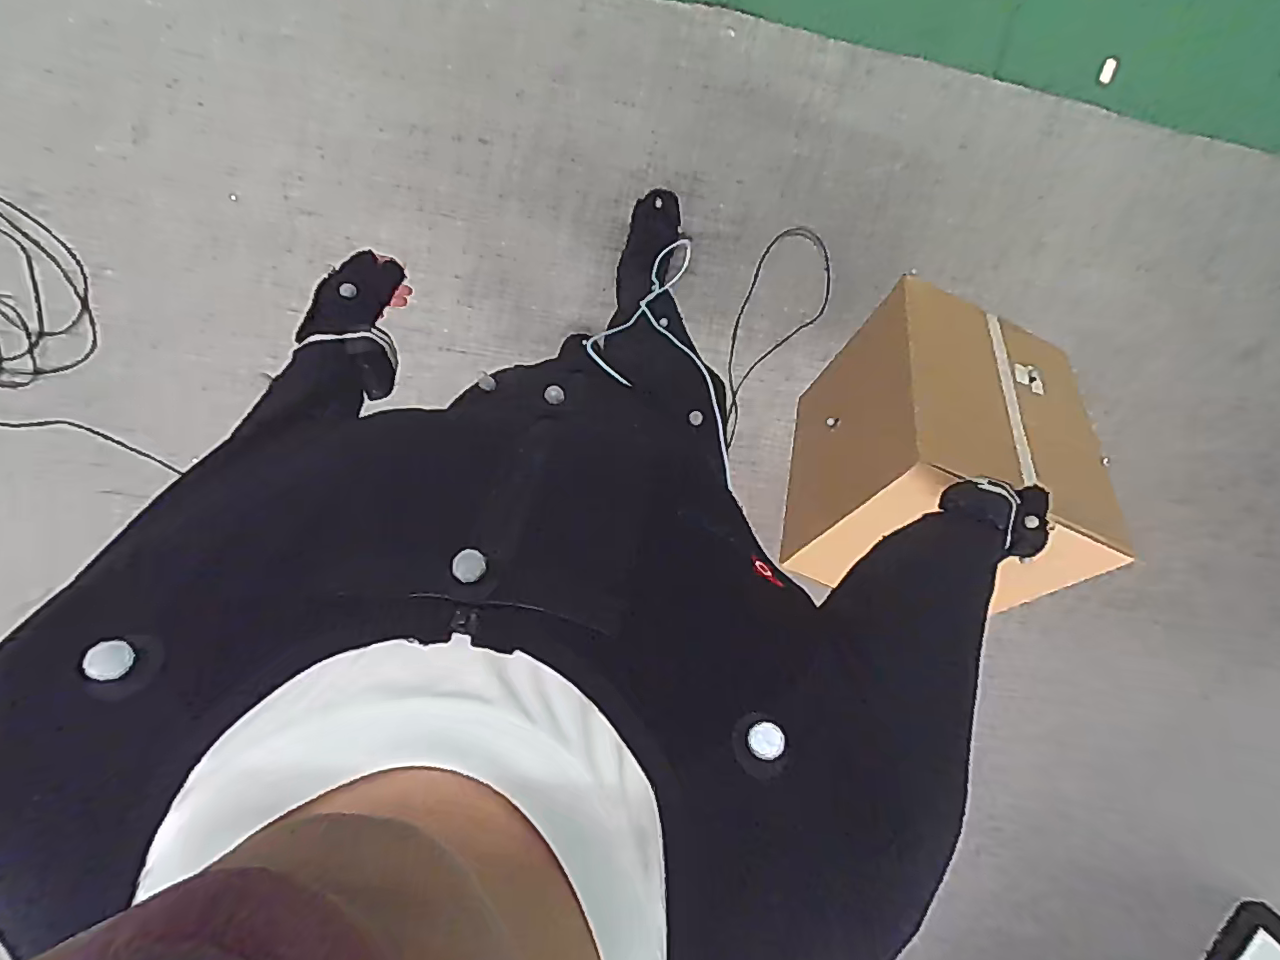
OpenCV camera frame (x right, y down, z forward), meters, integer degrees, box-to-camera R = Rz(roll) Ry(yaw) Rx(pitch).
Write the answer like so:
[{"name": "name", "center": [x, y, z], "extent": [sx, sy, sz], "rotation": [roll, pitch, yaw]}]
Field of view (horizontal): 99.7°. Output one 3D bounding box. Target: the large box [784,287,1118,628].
[{"name": "large box", "center": [0.461, -0.029, 0.895], "extent": [0.320, 0.408, 0.320], "rotation": [23, 142, -7]}]
